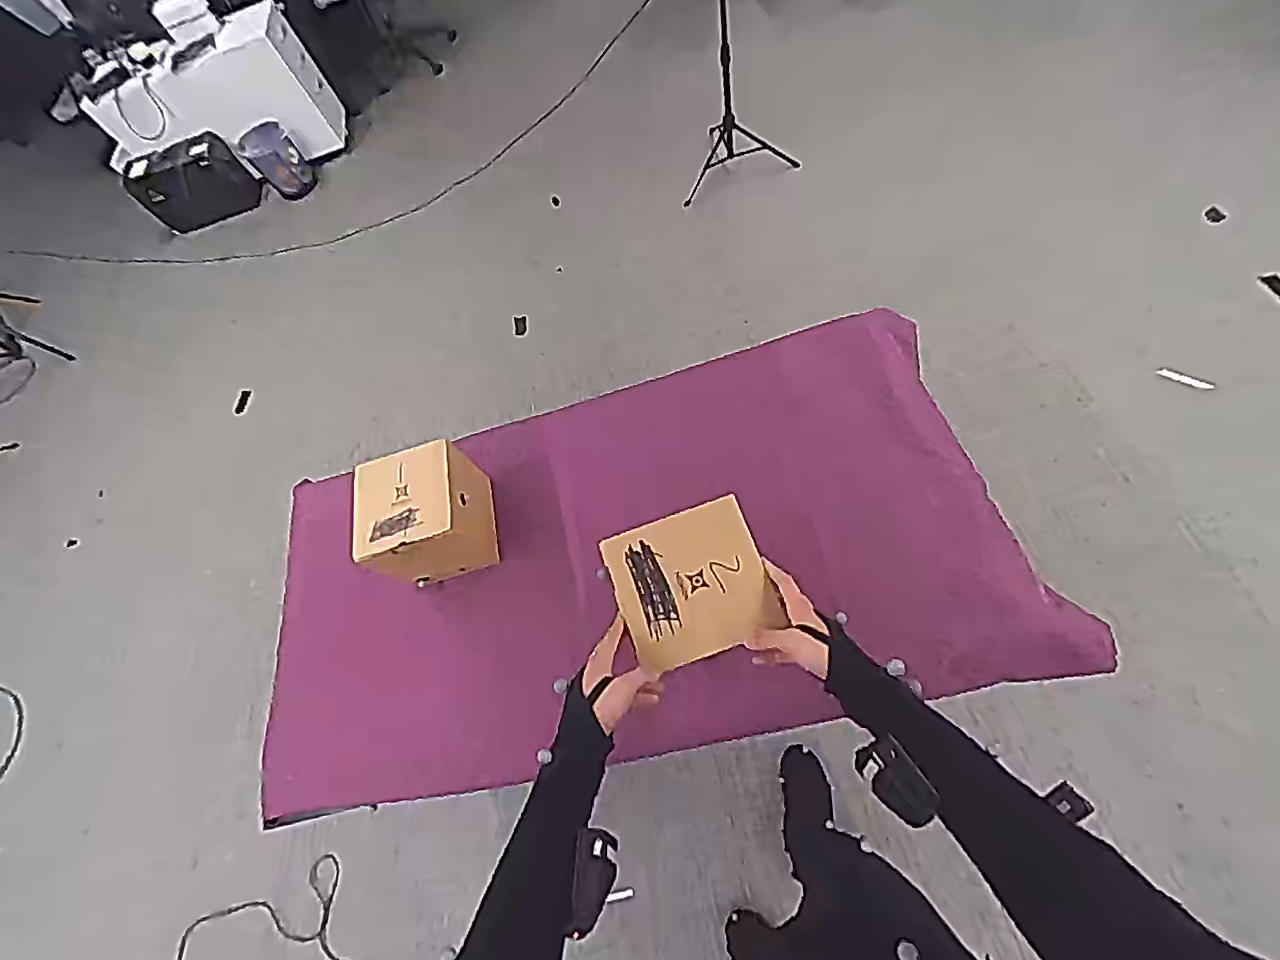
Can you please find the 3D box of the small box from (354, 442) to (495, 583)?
[{"bbox_3d":[-0.363,0.067,0.932,0.168,0.176,0.179,-17,62,4],"label":"small box"}]
